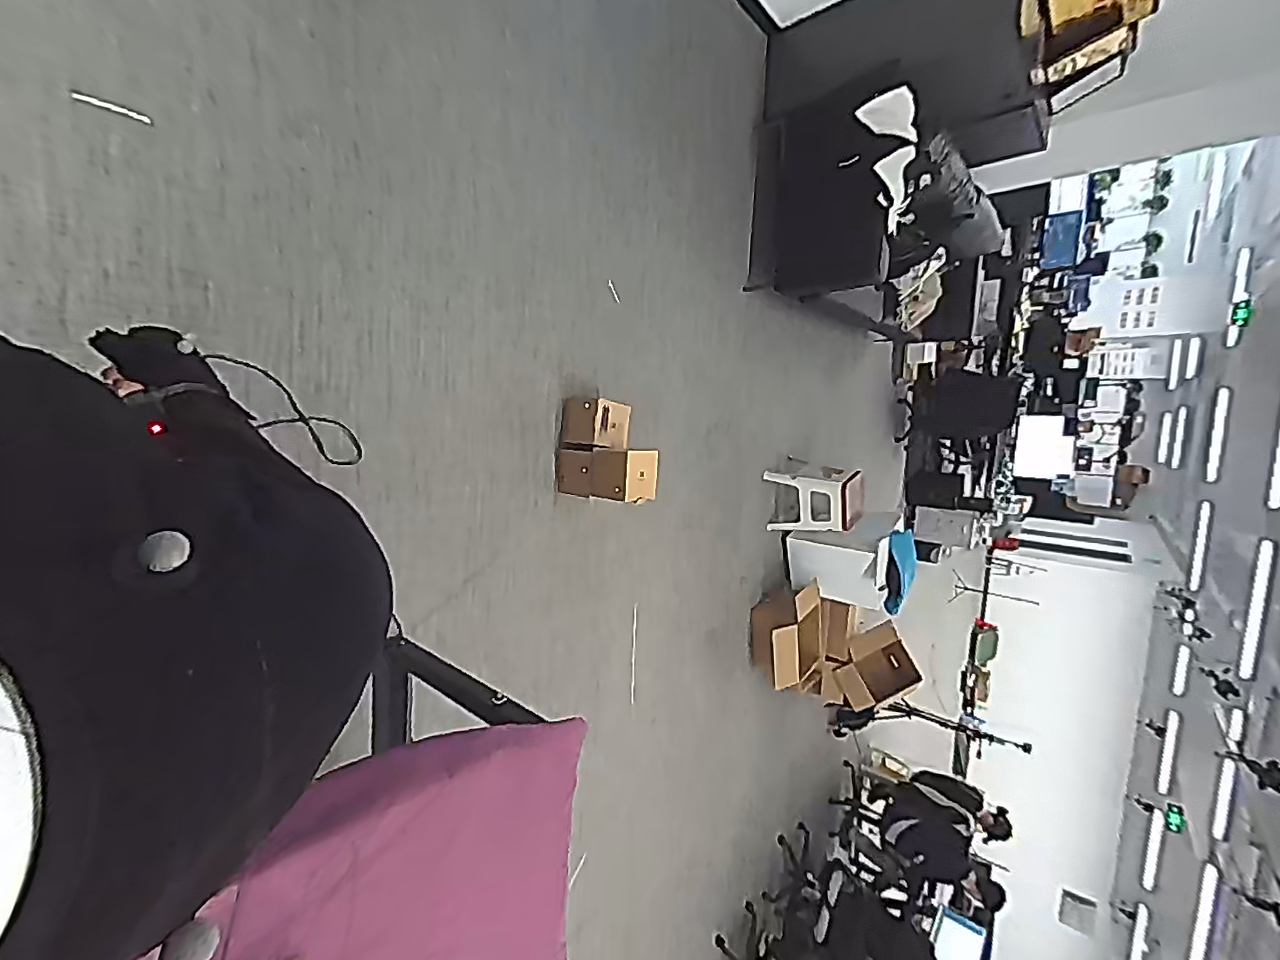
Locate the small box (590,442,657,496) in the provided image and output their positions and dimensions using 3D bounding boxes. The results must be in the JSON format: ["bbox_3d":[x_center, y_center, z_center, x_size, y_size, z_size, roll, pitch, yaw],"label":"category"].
[{"bbox_3d":[-0.060,-0.043,1.904,0.168,0.176,0.179,-5,101,-49],"label":"small box"}]
